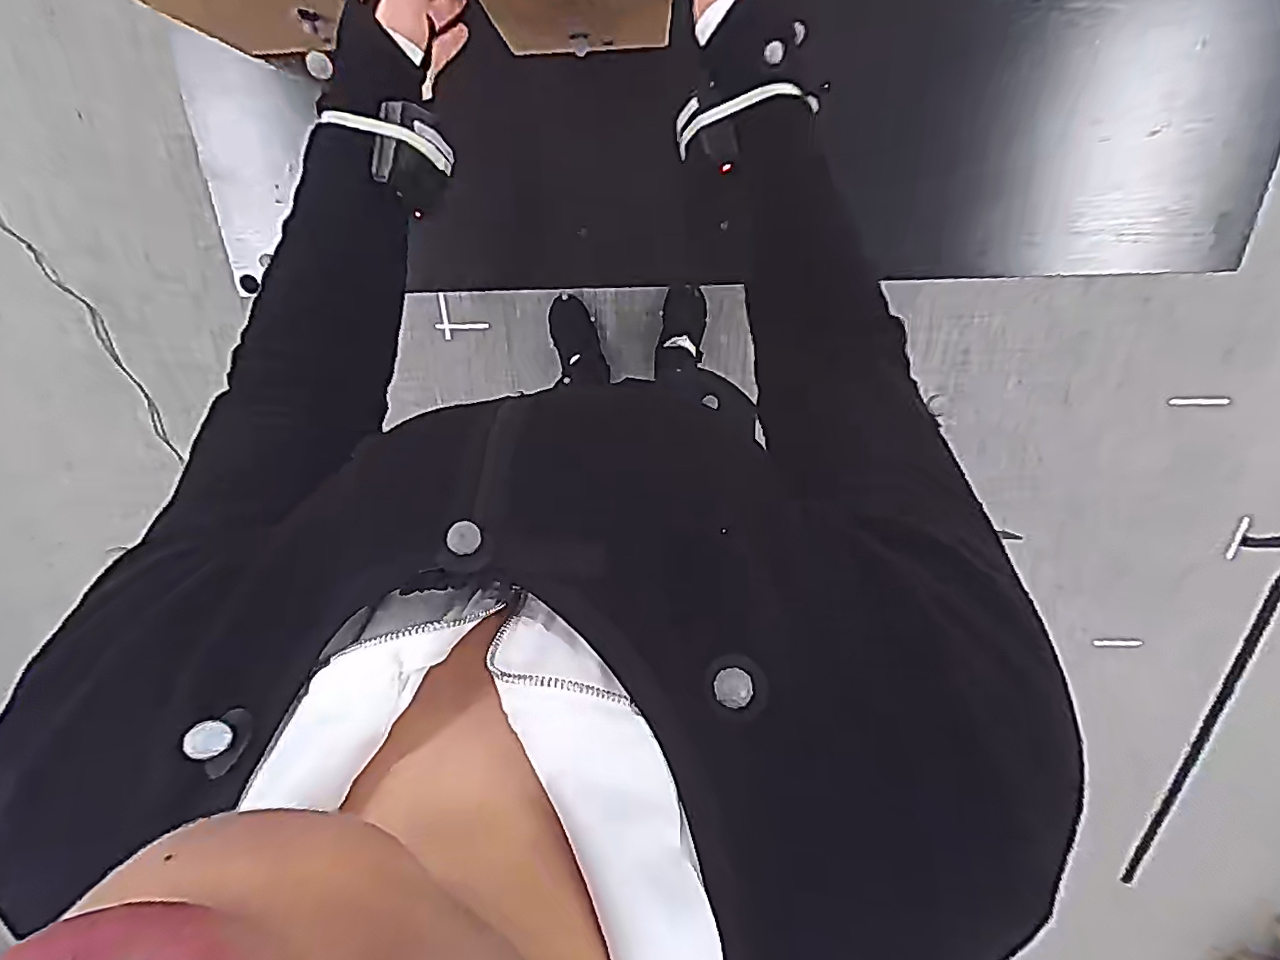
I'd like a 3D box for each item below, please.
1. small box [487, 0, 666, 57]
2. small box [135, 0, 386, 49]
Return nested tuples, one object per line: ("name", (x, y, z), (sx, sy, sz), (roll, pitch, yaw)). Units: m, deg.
("small box", (-0.061, -0.504, 0.470), (0.168, 0.176, 0.179), (-2, 113, 1))
("small box", (-0.348, -0.507, 0.472), (0.168, 0.176, 0.179), (-3, 112, 0))
